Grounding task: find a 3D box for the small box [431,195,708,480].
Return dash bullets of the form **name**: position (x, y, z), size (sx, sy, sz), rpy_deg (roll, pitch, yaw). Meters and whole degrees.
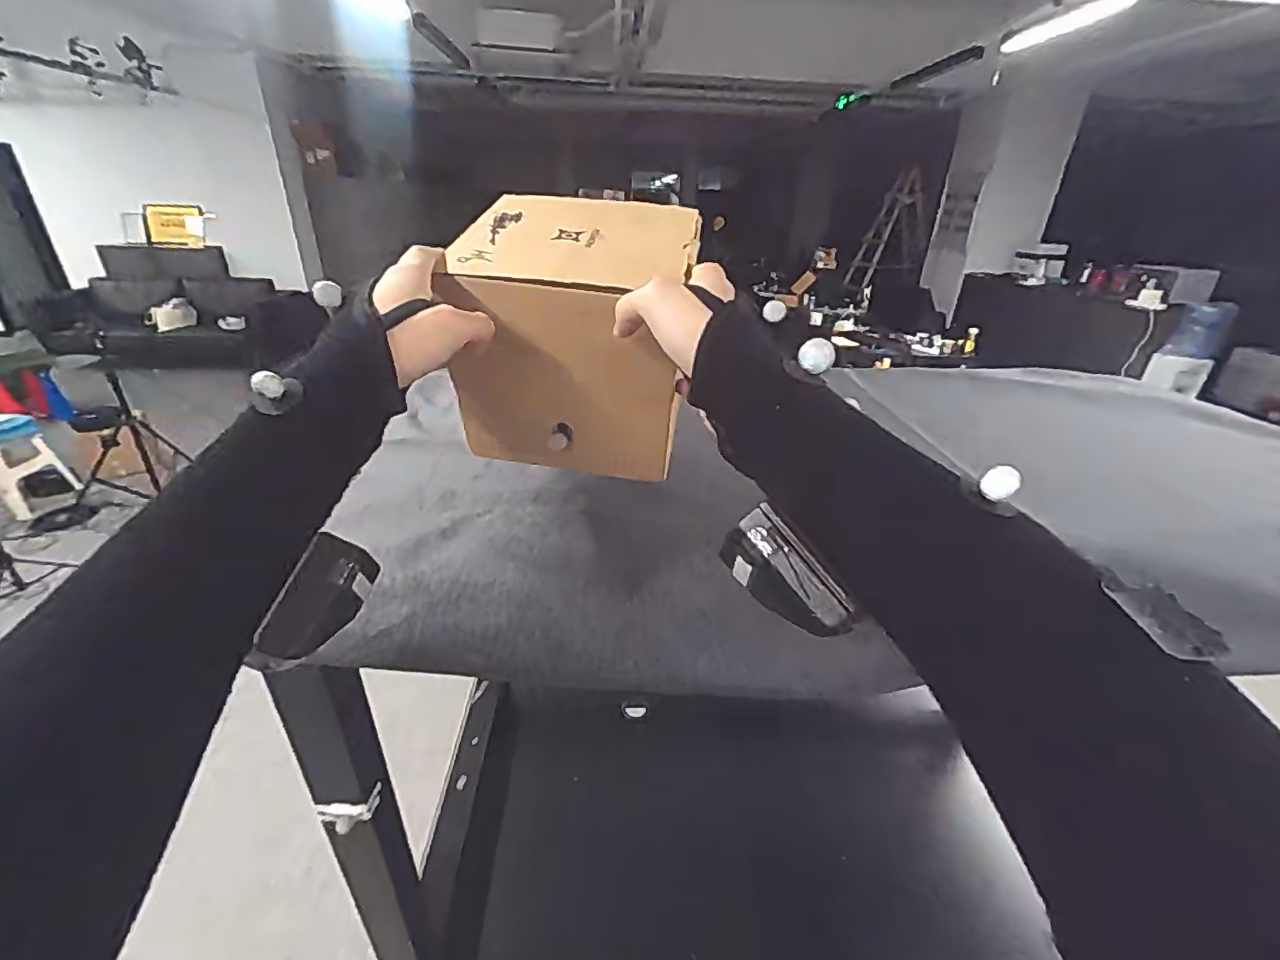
- **small box**: position (-0.046, -0.120, 0.464), size (0.179, 0.176, 0.168), rpy_deg (9, 45, 5)
